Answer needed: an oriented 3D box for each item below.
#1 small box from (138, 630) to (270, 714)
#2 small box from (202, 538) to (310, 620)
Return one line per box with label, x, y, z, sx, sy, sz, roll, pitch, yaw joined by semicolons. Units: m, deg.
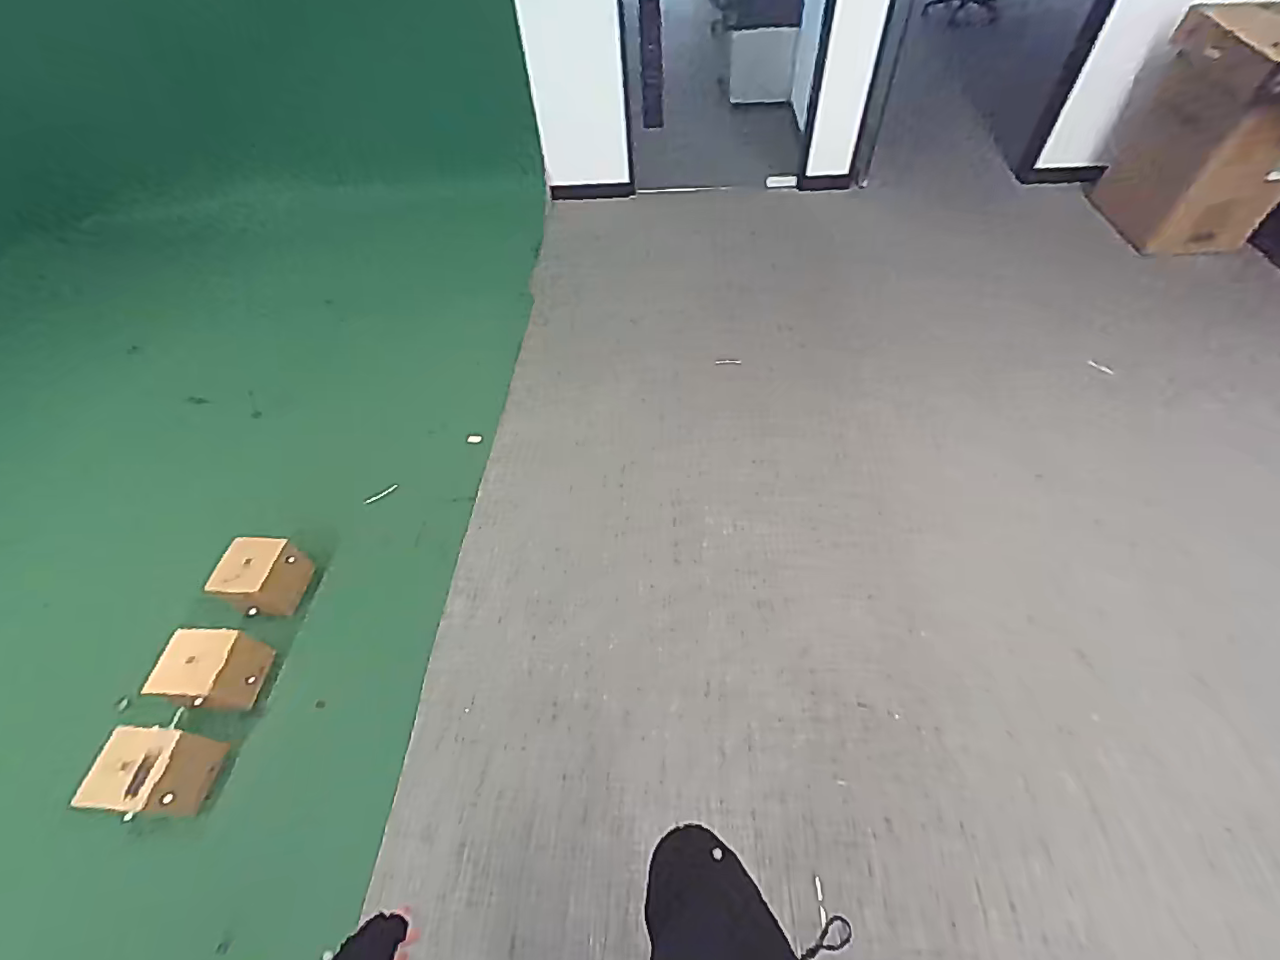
small box;-1.143;0.512;1.434;0.179;0.176;0.168;1;52;3
small box;-1.121;0.294;1.600;0.168;0.176;0.179;2;52;5
